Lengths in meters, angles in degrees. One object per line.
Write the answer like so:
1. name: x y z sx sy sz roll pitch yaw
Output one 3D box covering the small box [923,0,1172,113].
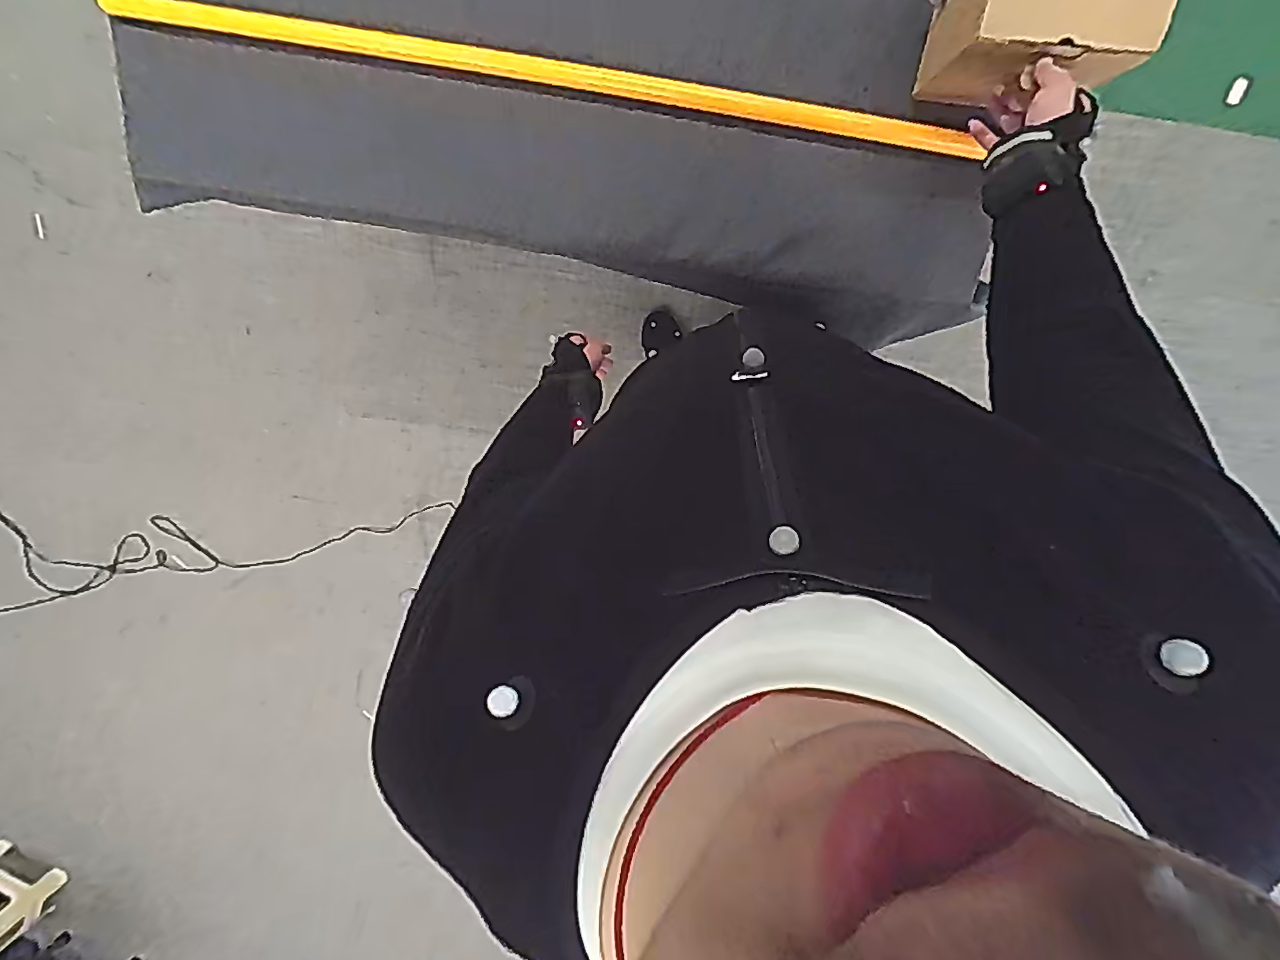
1. small box: 0.423 -0.512 0.569 0.168 0.176 0.179 6 108 6
